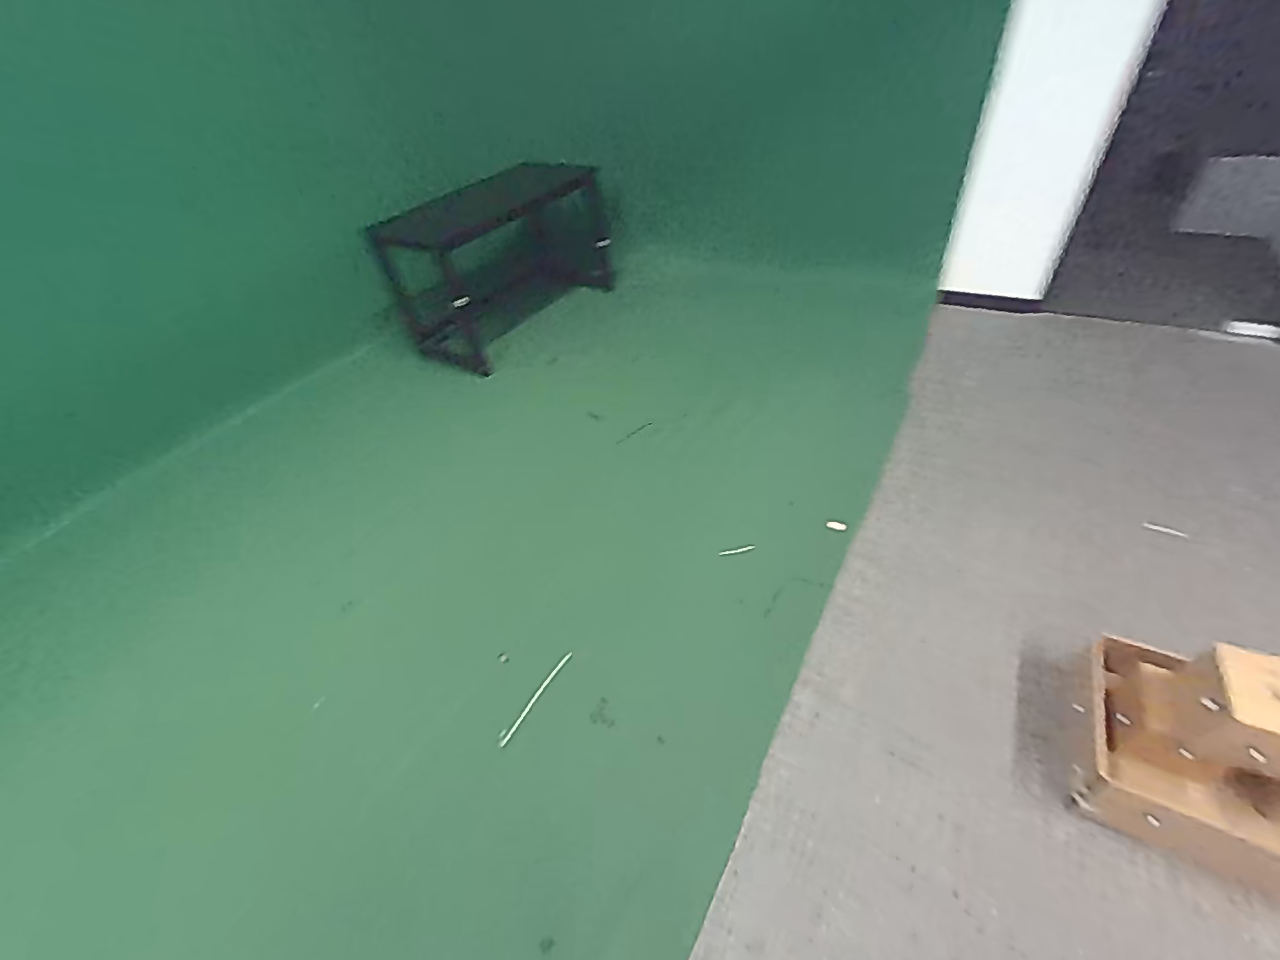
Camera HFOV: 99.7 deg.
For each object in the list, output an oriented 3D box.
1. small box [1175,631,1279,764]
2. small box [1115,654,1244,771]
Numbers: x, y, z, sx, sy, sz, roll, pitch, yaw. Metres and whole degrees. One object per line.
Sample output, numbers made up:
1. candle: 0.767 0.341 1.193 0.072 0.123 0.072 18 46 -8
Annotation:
1. small box: 1.250 0.446 1.099 0.168 0.176 0.179 13 49 20
2. small box: 1.236 0.537 1.243 0.179 0.176 0.168 14 50 22
